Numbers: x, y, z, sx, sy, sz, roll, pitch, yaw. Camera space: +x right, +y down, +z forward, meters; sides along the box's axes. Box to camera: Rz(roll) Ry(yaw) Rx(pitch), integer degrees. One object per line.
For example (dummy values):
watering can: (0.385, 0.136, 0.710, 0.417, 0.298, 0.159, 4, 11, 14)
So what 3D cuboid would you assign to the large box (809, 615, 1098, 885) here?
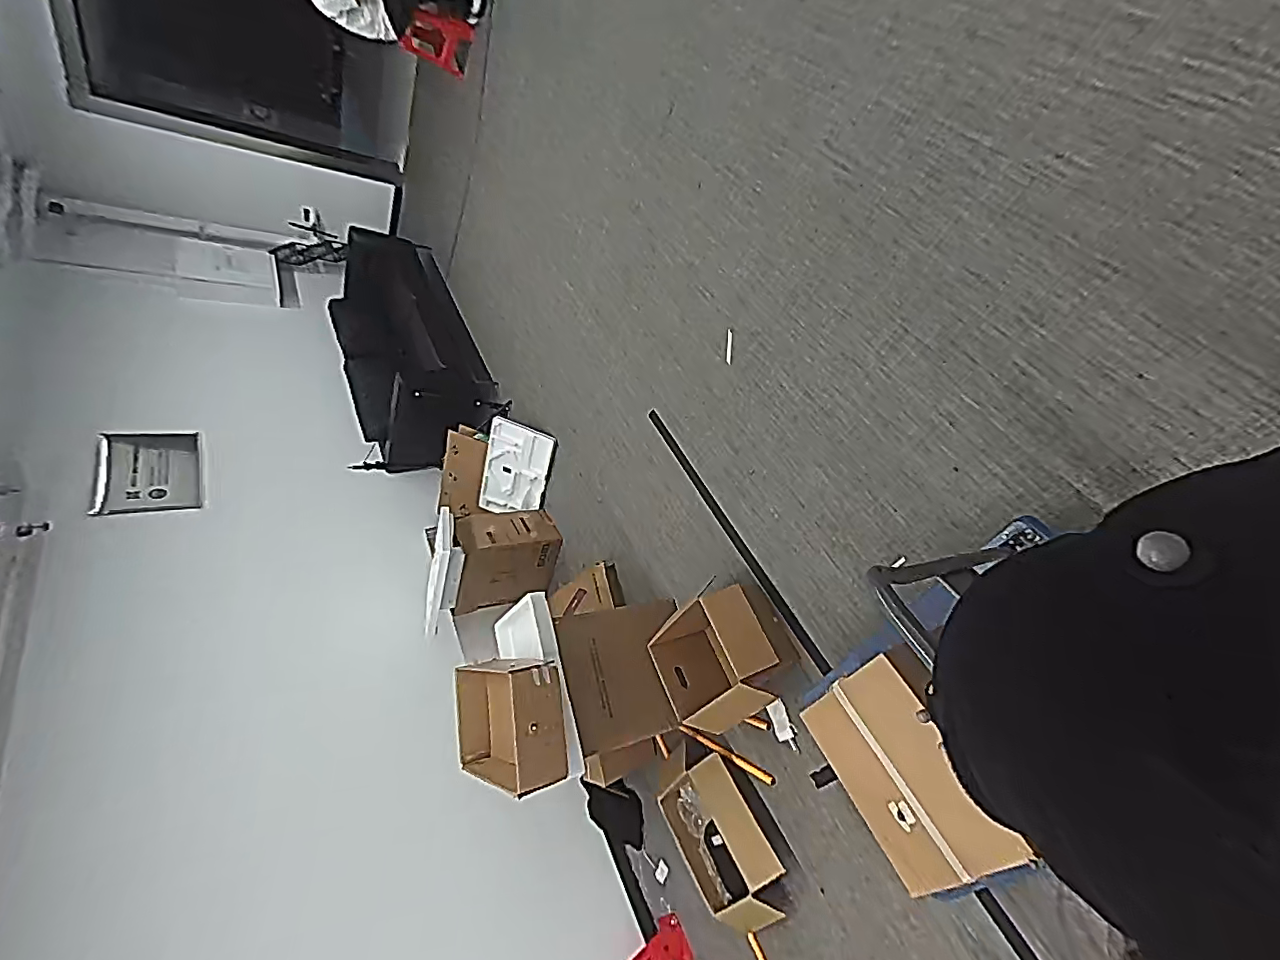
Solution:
large box: (0.679, 0.579, 1.215, 0.408, 0.320, 0.320, 58, 137, 32)
